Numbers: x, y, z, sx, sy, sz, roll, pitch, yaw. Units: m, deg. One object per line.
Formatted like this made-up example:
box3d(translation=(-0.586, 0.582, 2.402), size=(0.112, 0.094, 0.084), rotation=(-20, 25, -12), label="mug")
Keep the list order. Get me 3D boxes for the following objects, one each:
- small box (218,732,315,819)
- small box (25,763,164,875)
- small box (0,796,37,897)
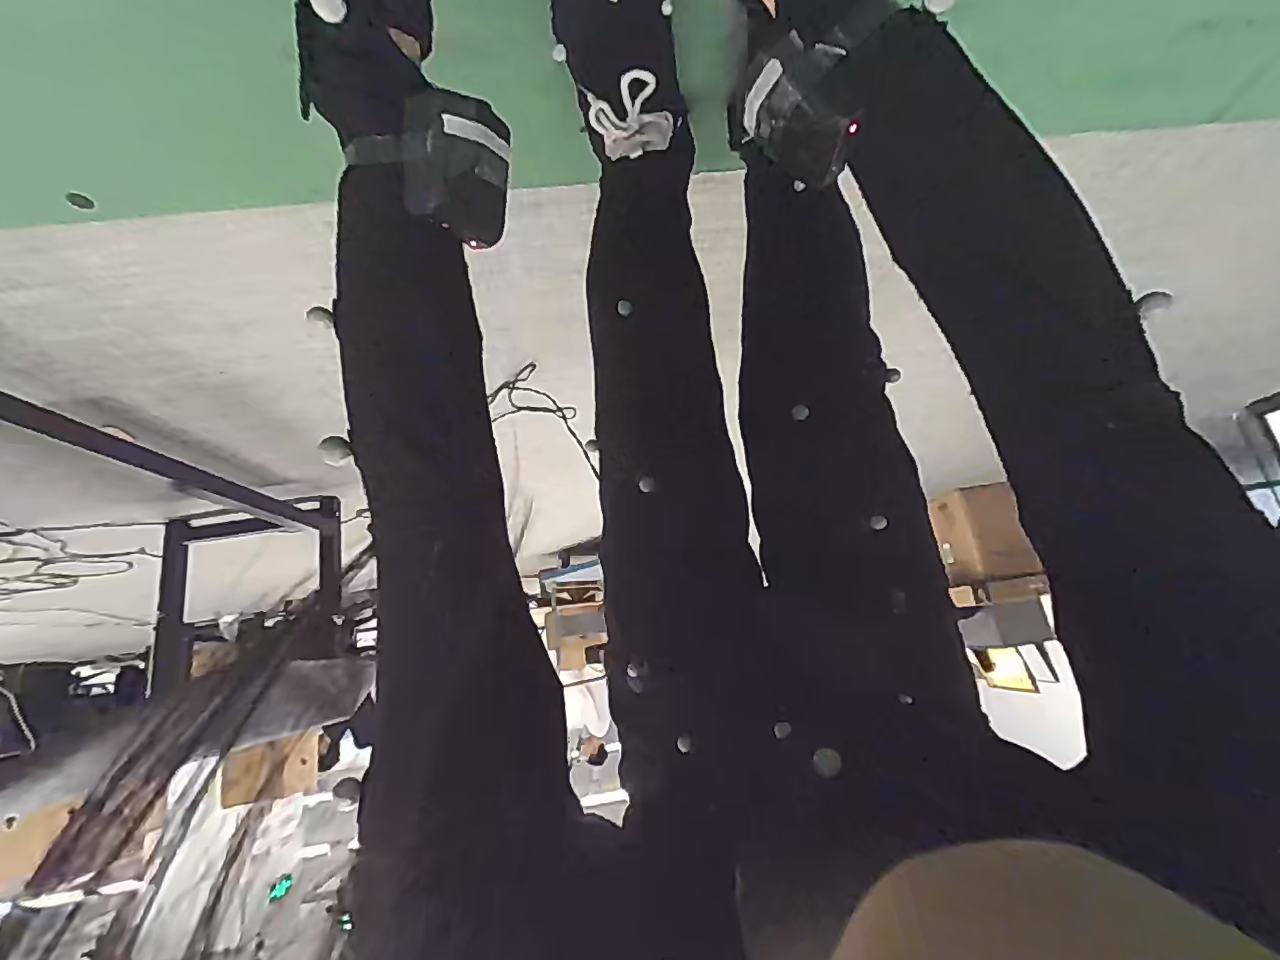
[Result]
box3d(translation=(-1.050, 0.828, 1.530), size=(0.168, 0.176, 0.179), rotation=(-8, 164, -4), label="small box")
box3d(translation=(-1.277, 0.788, 1.273), size=(0.168, 0.176, 0.179), rotation=(-9, 163, -6), label="small box")
box3d(translation=(-1.288, 0.702, 0.997), size=(0.179, 0.176, 0.168), rotation=(-9, 163, -4), label="small box")
